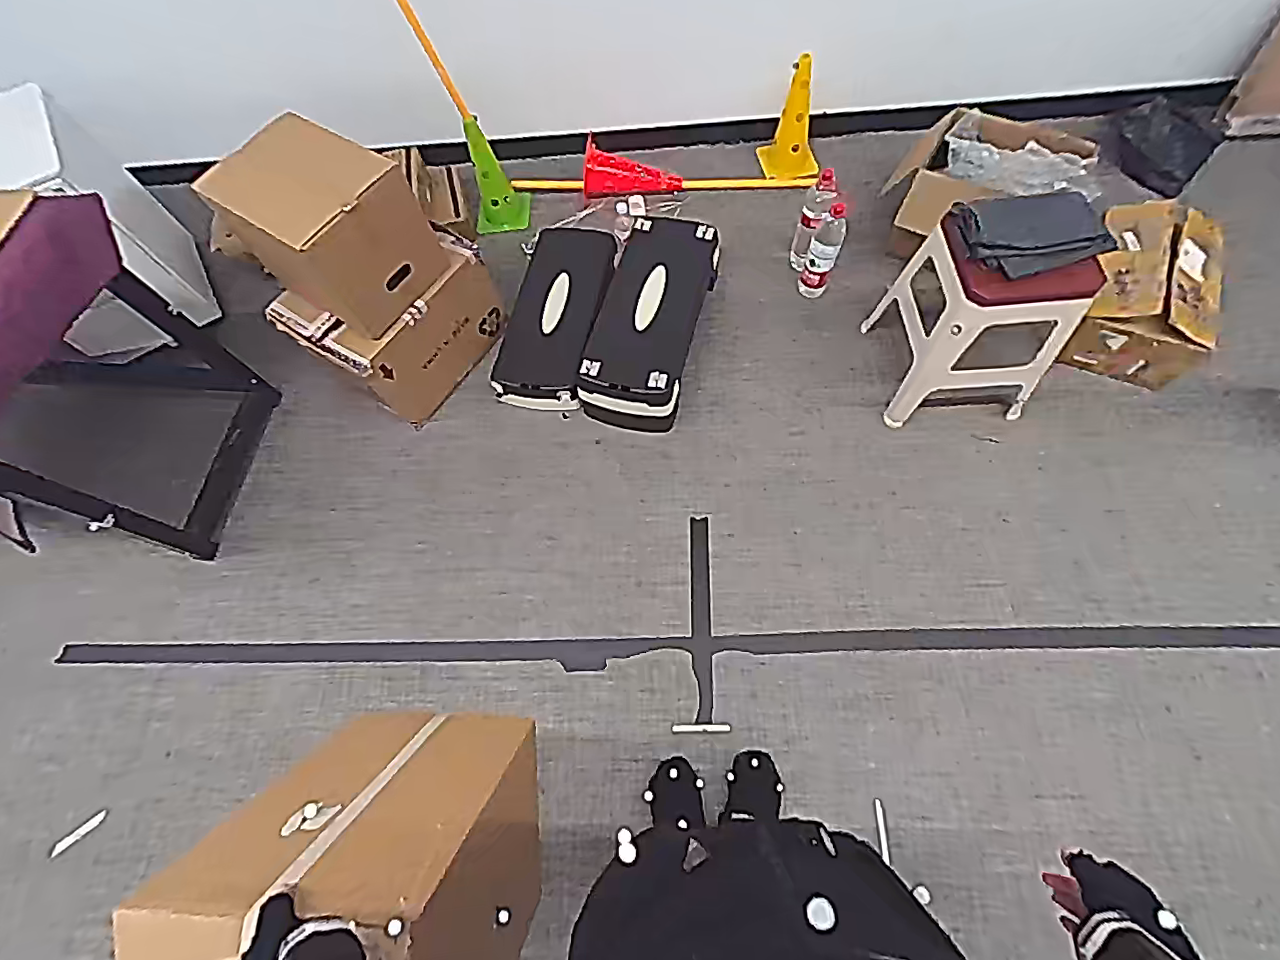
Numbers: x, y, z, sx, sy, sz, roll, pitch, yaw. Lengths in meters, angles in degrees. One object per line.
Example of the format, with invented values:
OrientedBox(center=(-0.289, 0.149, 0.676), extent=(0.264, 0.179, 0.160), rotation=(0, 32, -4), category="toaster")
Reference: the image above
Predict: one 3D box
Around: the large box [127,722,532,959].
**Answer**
OrientedBox(center=(-0.352, 0.583, 0.739), extent=(0.320, 0.408, 0.320), rotation=(-2, 94, 6), category="large box")
